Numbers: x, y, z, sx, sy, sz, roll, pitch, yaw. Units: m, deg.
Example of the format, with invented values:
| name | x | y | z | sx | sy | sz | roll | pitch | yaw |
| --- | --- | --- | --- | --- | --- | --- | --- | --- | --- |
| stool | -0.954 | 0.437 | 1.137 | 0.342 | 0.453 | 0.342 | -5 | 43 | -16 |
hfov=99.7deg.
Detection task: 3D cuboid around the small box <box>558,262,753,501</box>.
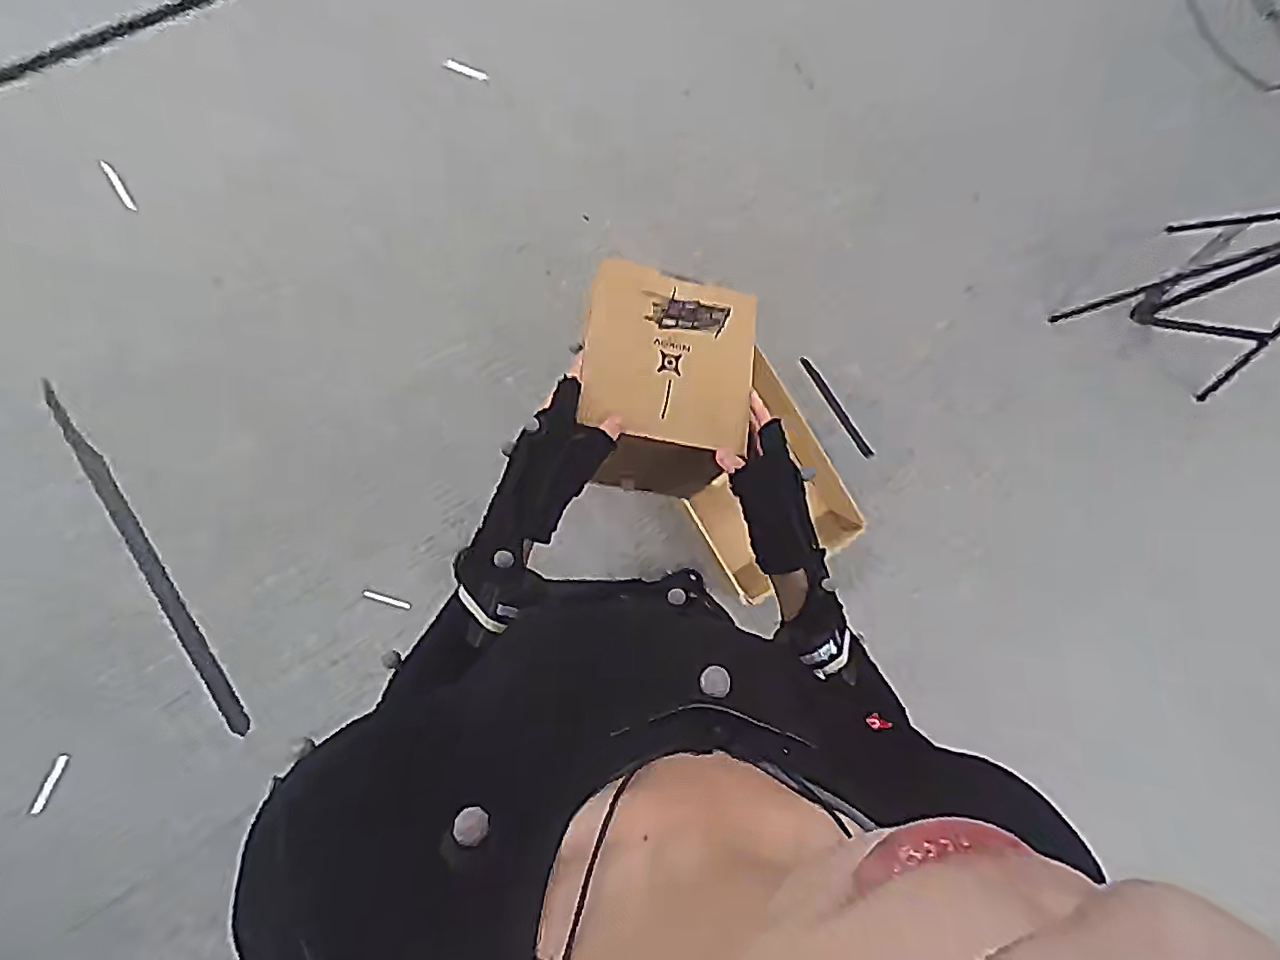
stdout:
| name | x | y | z | sx | sy | sz | roll | pitch | yaw |
| --- | --- | --- | --- | --- | --- | --- | --- | --- | --- |
| small box | 0.009 | -0.092 | 0.580 | 0.168 | 0.176 | 0.179 | 10 | 71 | -11 |
